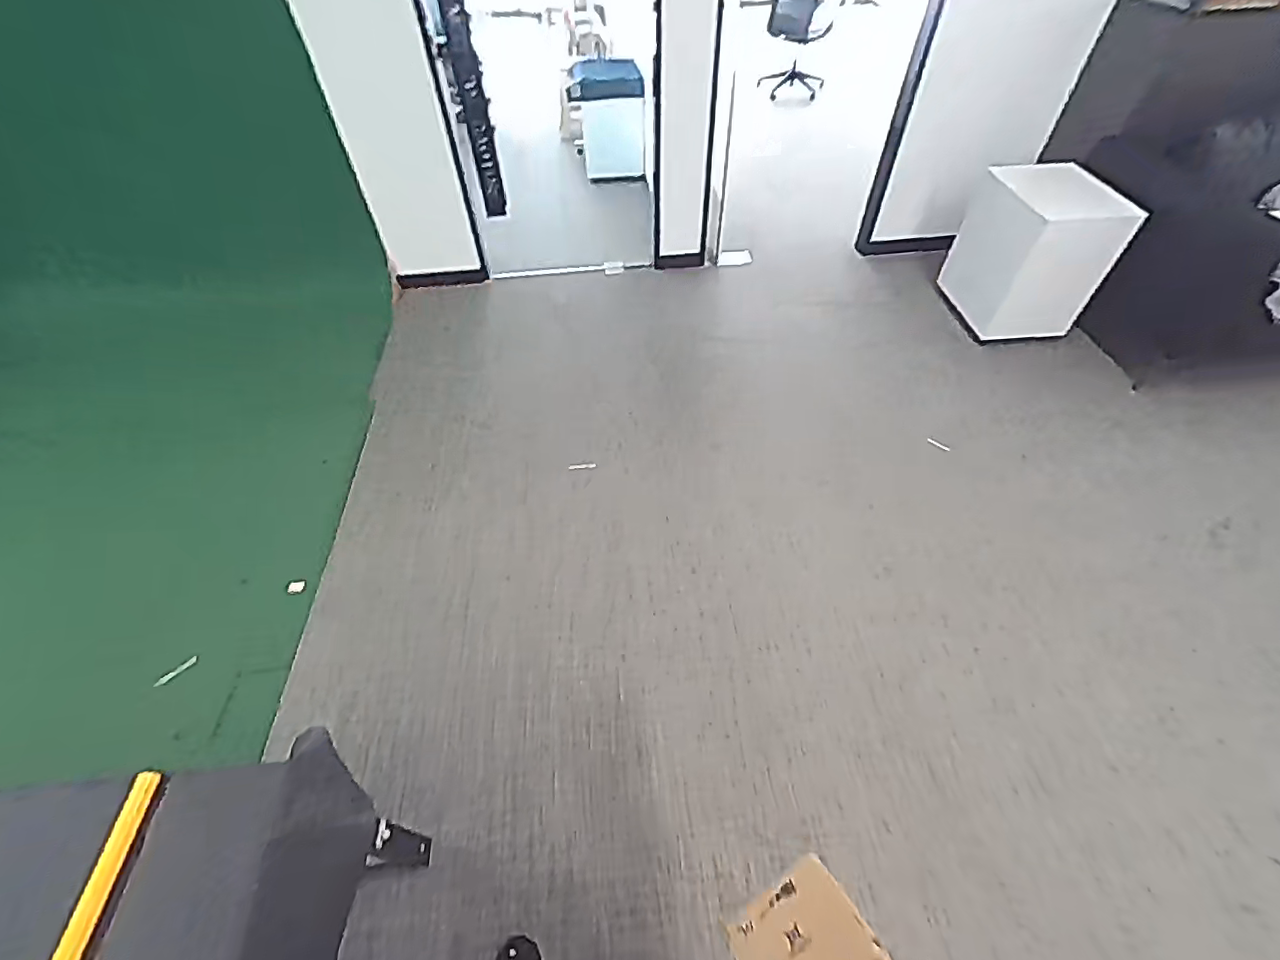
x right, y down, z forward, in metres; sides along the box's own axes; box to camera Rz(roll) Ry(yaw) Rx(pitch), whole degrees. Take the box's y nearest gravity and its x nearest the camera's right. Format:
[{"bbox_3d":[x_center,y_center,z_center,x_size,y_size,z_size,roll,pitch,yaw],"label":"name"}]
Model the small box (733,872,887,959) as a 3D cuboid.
[{"bbox_3d":[0.255,0.673,0.689,0.168,0.179,0.176,-38,95,-10],"label":"small box"}]
